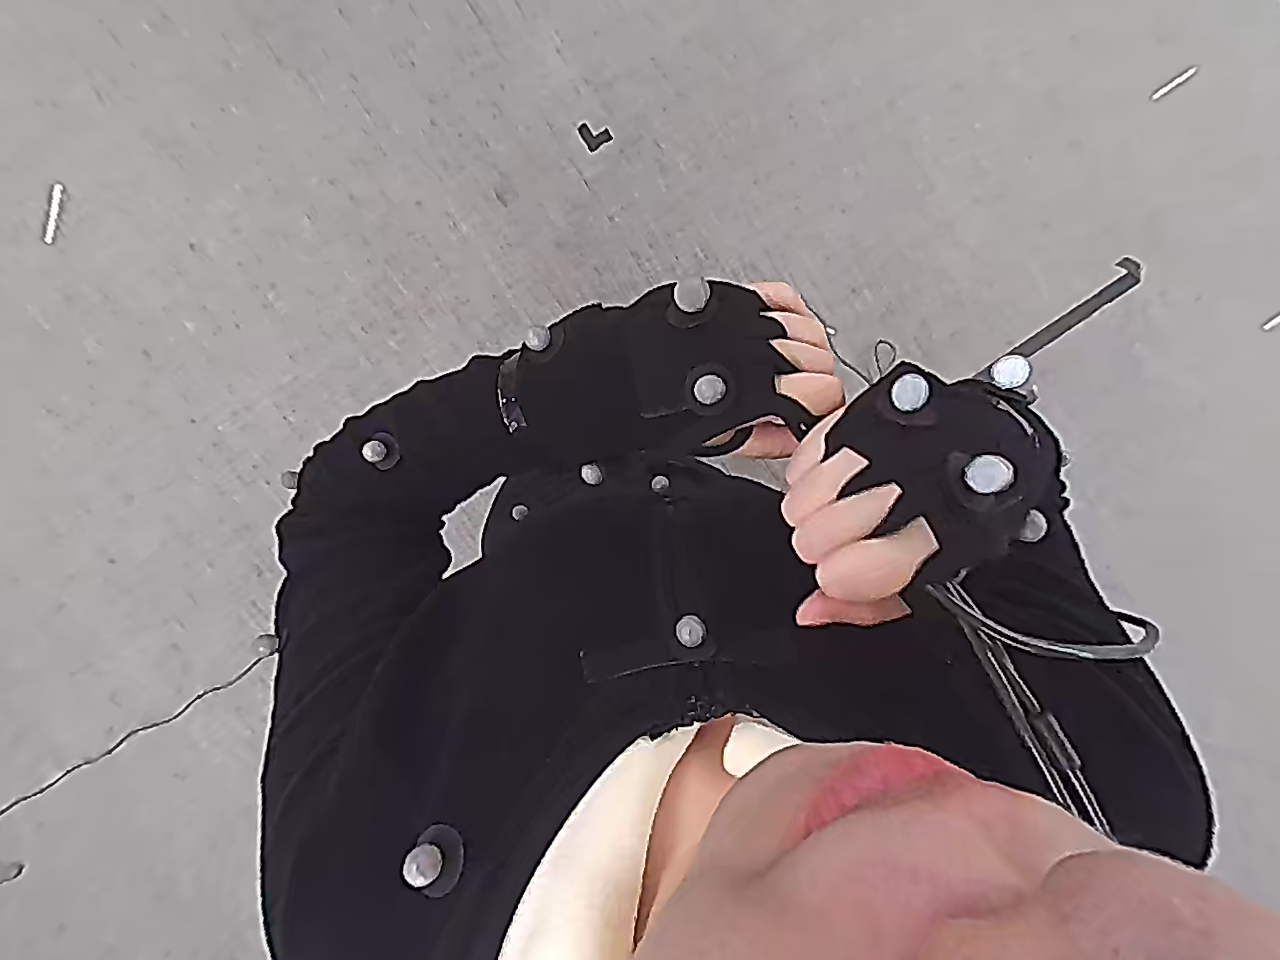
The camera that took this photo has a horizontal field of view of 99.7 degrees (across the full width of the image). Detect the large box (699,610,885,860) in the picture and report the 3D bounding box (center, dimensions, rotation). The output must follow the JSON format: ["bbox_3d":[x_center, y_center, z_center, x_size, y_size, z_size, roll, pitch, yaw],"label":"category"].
[{"bbox_3d":[0.341,0.570,1.277,0.320,0.320,0.408,-7,99,-6],"label":"large box"}]
